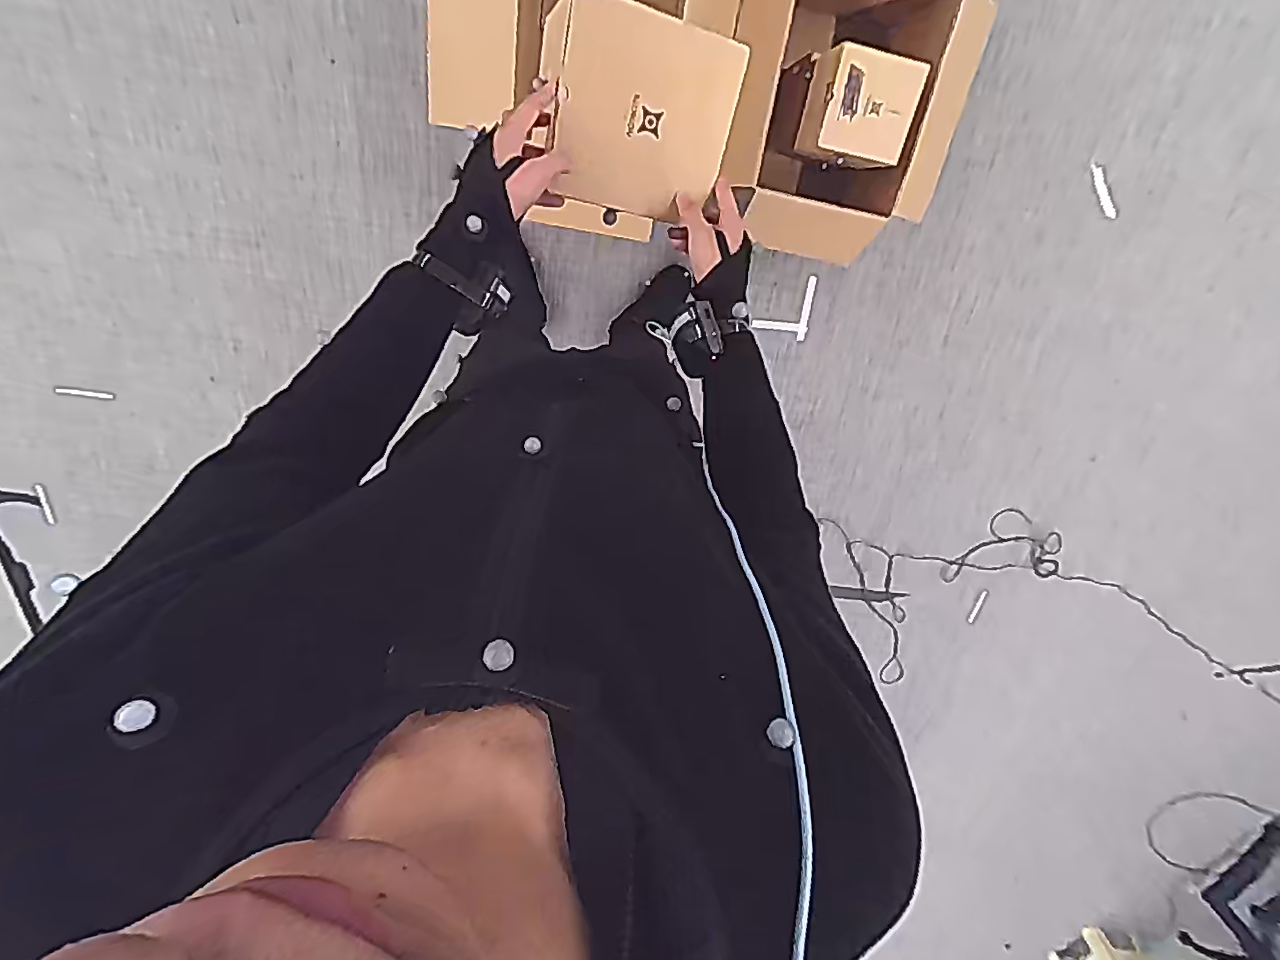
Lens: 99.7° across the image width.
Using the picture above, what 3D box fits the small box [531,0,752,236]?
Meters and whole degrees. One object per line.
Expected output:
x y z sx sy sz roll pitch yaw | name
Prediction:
-0.013 -0.381 0.584 0.179 0.176 0.168 4 120 -19 | small box
